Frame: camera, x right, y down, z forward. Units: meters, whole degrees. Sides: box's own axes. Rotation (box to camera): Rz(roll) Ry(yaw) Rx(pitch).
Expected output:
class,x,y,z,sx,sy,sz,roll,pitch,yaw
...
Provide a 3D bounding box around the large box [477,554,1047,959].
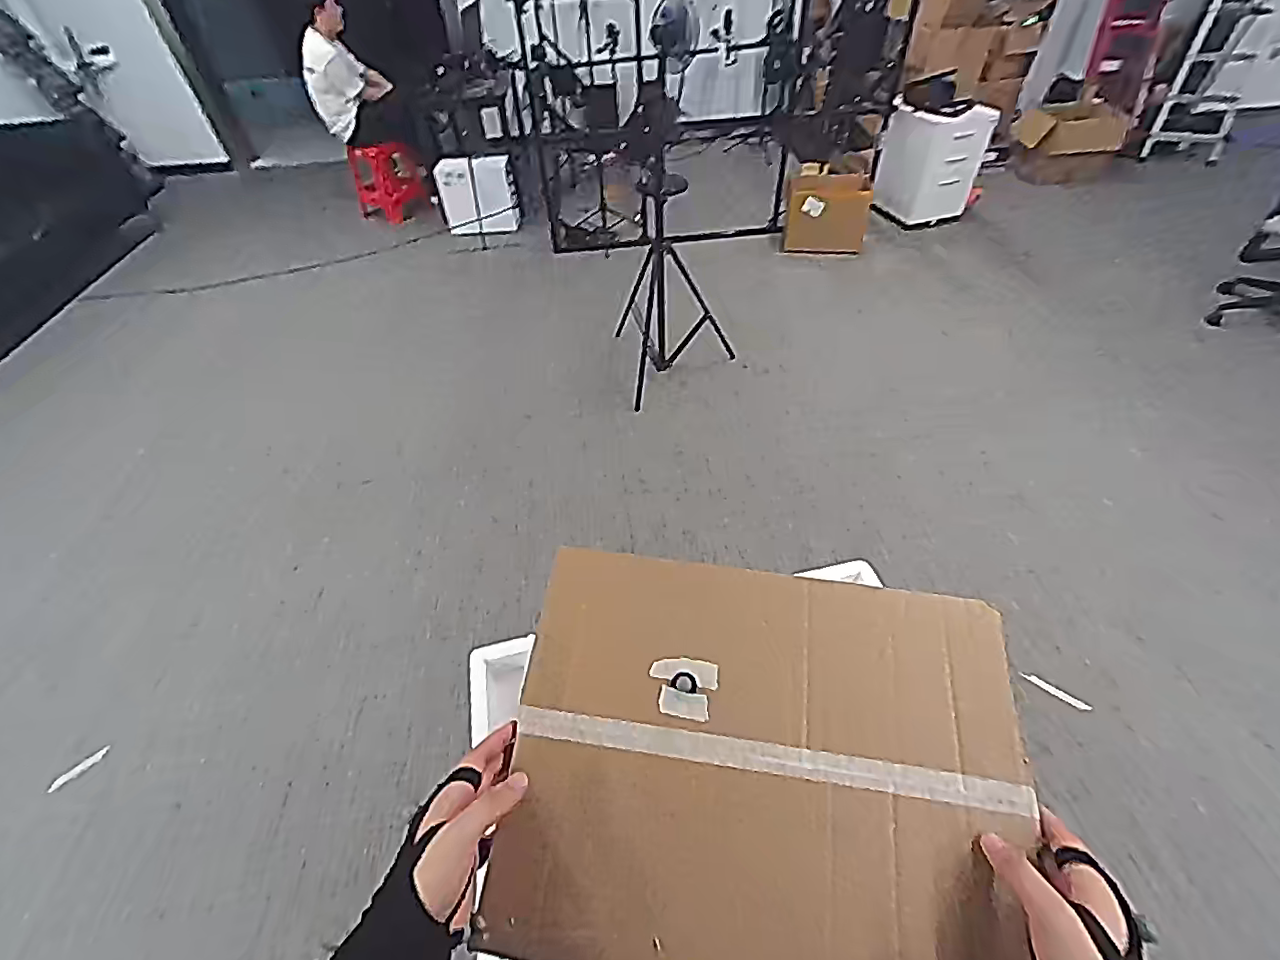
class,x,y,z,sx,sy,sz,roll,pitch,yaw
large box,0.105,0.289,0.568,0.408,0.320,0.320,5,62,7
